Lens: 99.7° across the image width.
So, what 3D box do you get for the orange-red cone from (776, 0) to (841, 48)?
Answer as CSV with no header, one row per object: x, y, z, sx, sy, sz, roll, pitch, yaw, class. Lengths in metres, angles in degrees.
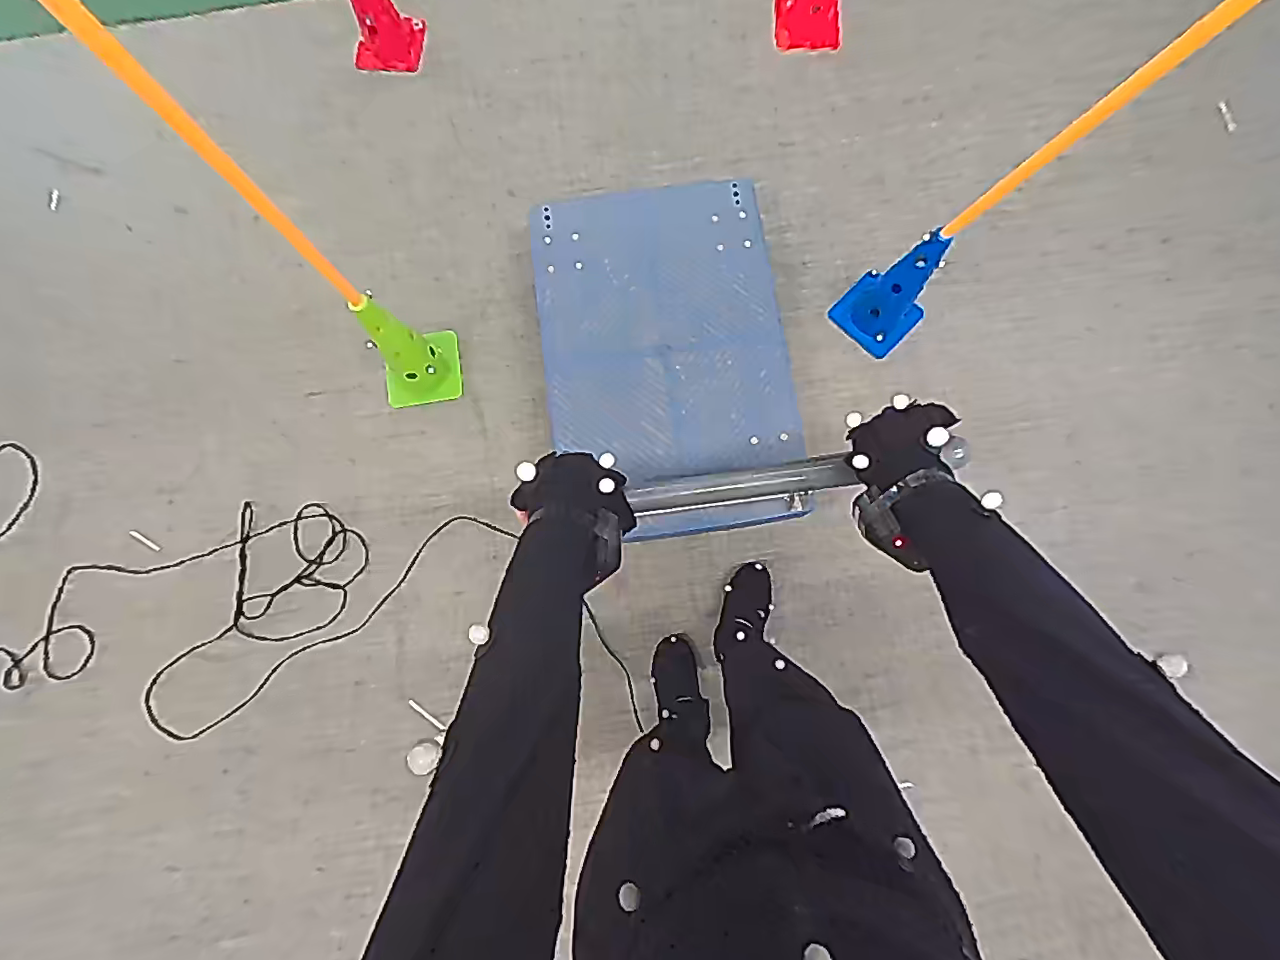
0.512,-1.441,1.494,0.198,0.360,0.199,2,80,2,orange-red cone
